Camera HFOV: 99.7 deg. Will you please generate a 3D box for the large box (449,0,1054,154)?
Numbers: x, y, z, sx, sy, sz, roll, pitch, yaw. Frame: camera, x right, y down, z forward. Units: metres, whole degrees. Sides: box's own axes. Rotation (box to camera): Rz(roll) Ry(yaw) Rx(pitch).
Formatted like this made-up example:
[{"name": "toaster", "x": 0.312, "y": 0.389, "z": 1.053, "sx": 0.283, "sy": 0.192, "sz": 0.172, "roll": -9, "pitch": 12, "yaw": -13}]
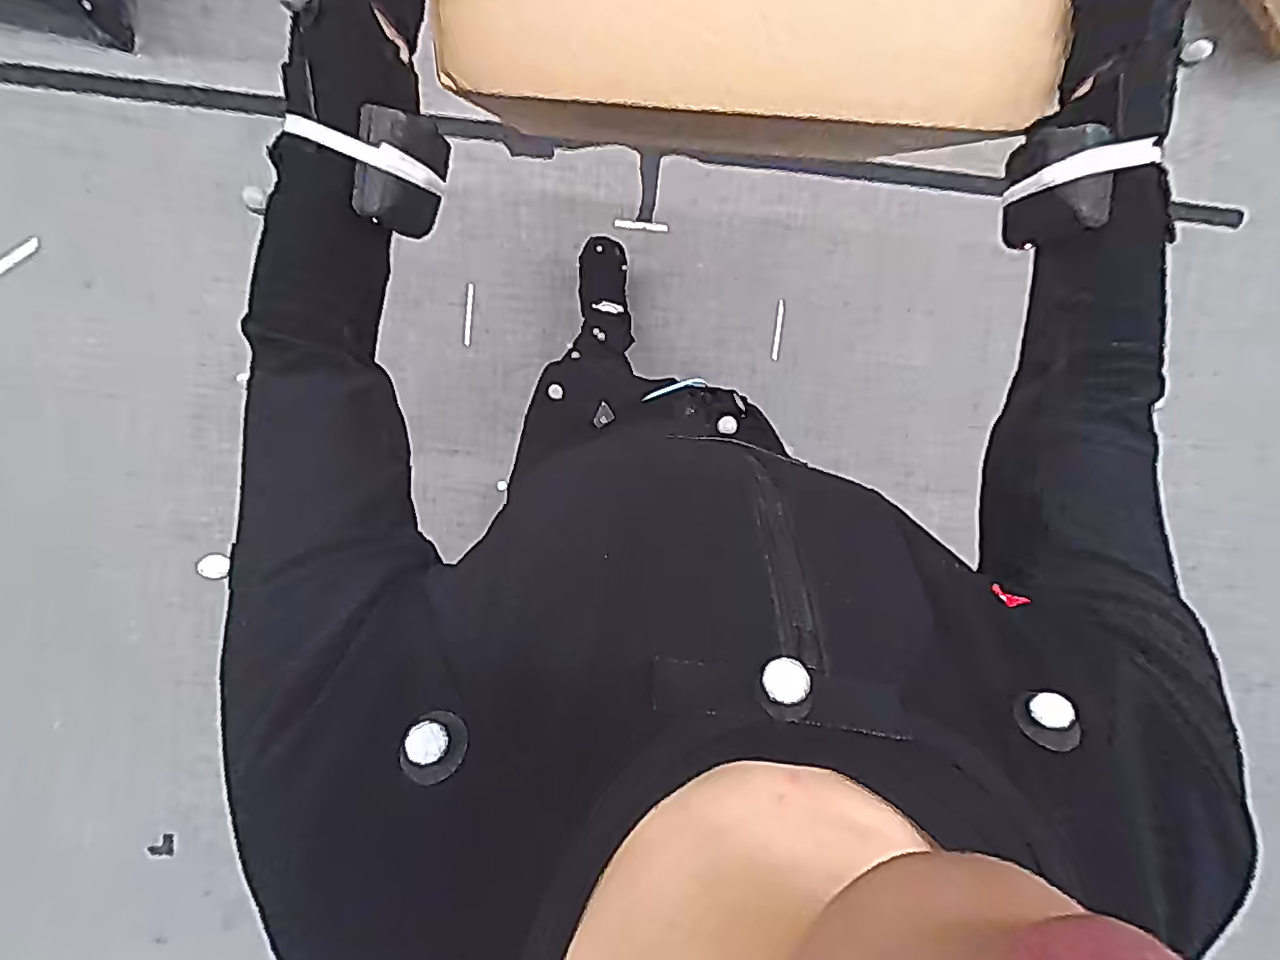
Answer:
[{"name": "large box", "x": 0.073, "y": -0.463, "z": 0.440, "sx": 0.408, "sy": 0.320, "sz": 0.320, "roll": 2, "pitch": 119, "yaw": -3}]
